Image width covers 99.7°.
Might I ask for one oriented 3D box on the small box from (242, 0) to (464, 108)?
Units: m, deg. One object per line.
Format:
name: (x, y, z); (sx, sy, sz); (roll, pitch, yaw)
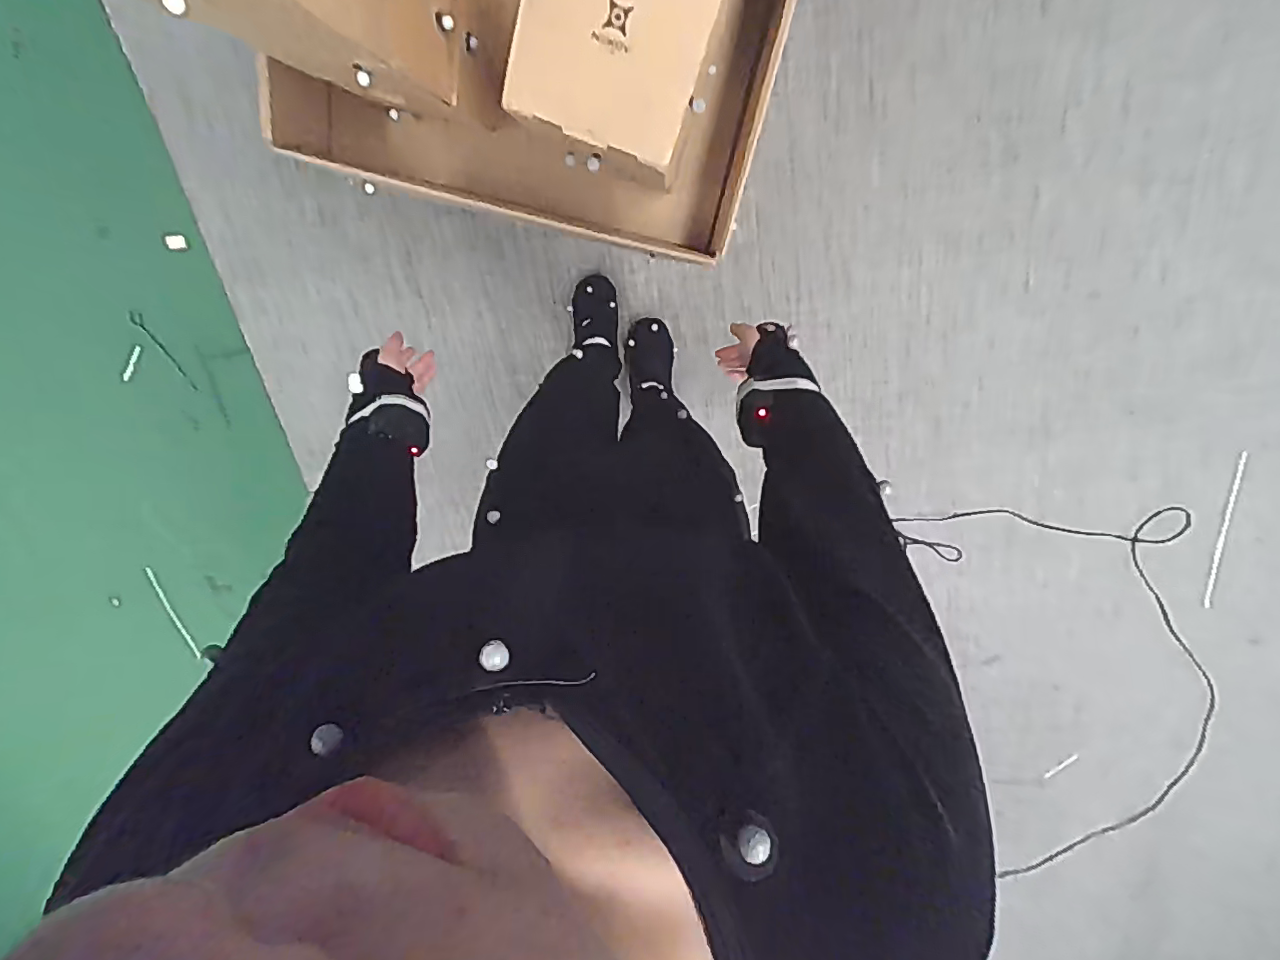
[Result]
small box: (-0.290, -0.495, 0.533); (0.179, 0.176, 0.168); (12, 113, -4)

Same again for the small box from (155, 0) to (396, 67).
small box: (-0.294, -0.428, 0.382); (0.179, 0.176, 0.168); (12, 114, -4)

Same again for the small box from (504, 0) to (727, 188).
small box: (-0.018, -0.419, 0.550); (0.168, 0.176, 0.179); (19, 113, -6)
